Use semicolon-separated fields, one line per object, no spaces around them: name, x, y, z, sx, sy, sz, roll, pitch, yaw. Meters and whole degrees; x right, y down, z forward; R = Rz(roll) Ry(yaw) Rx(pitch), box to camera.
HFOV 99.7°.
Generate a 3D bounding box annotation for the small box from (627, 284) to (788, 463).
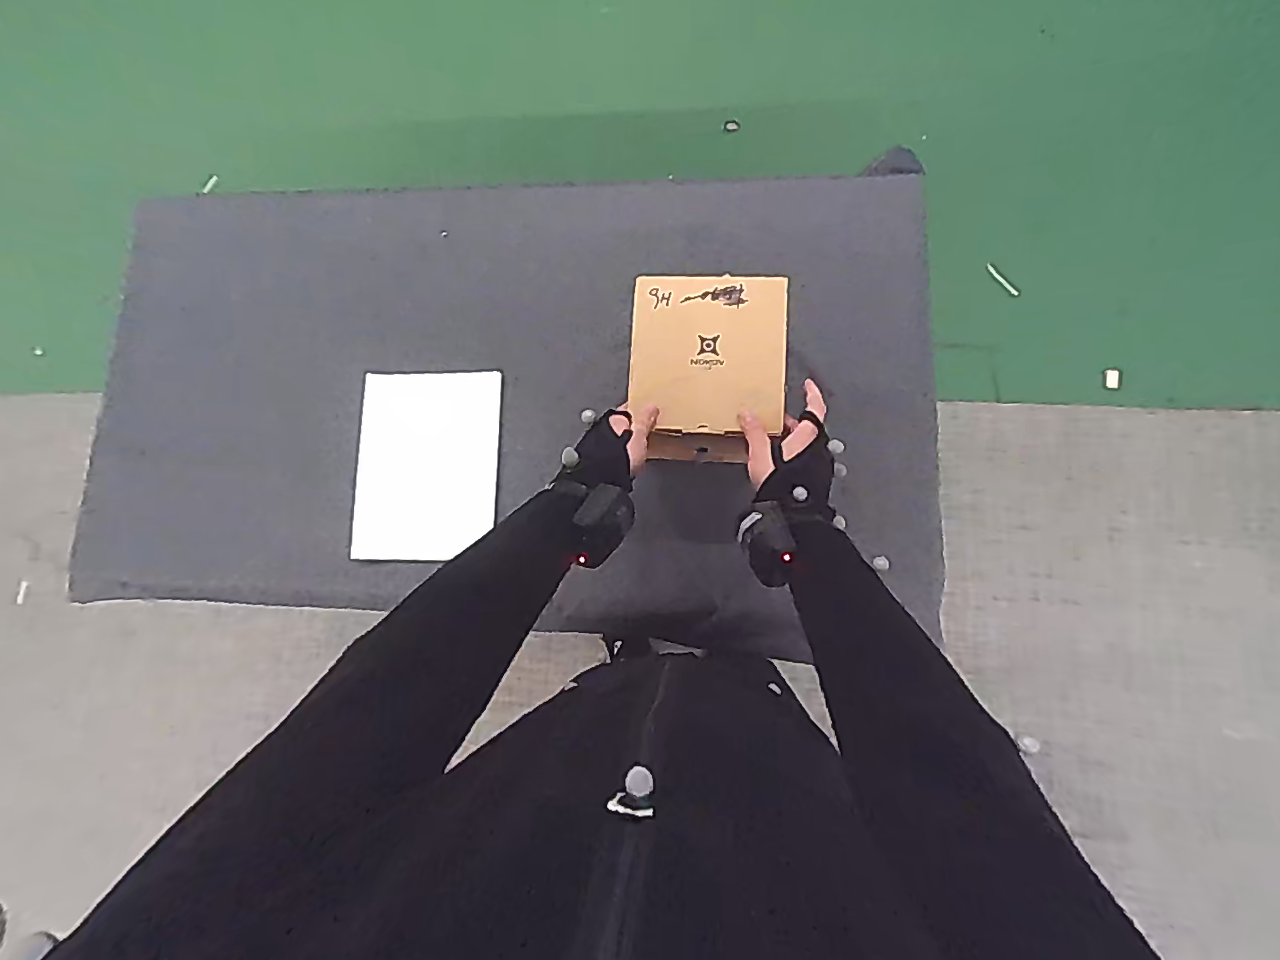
small box;0.082;-0.117;0.656;0.168;0.176;0.179;3;84;6
